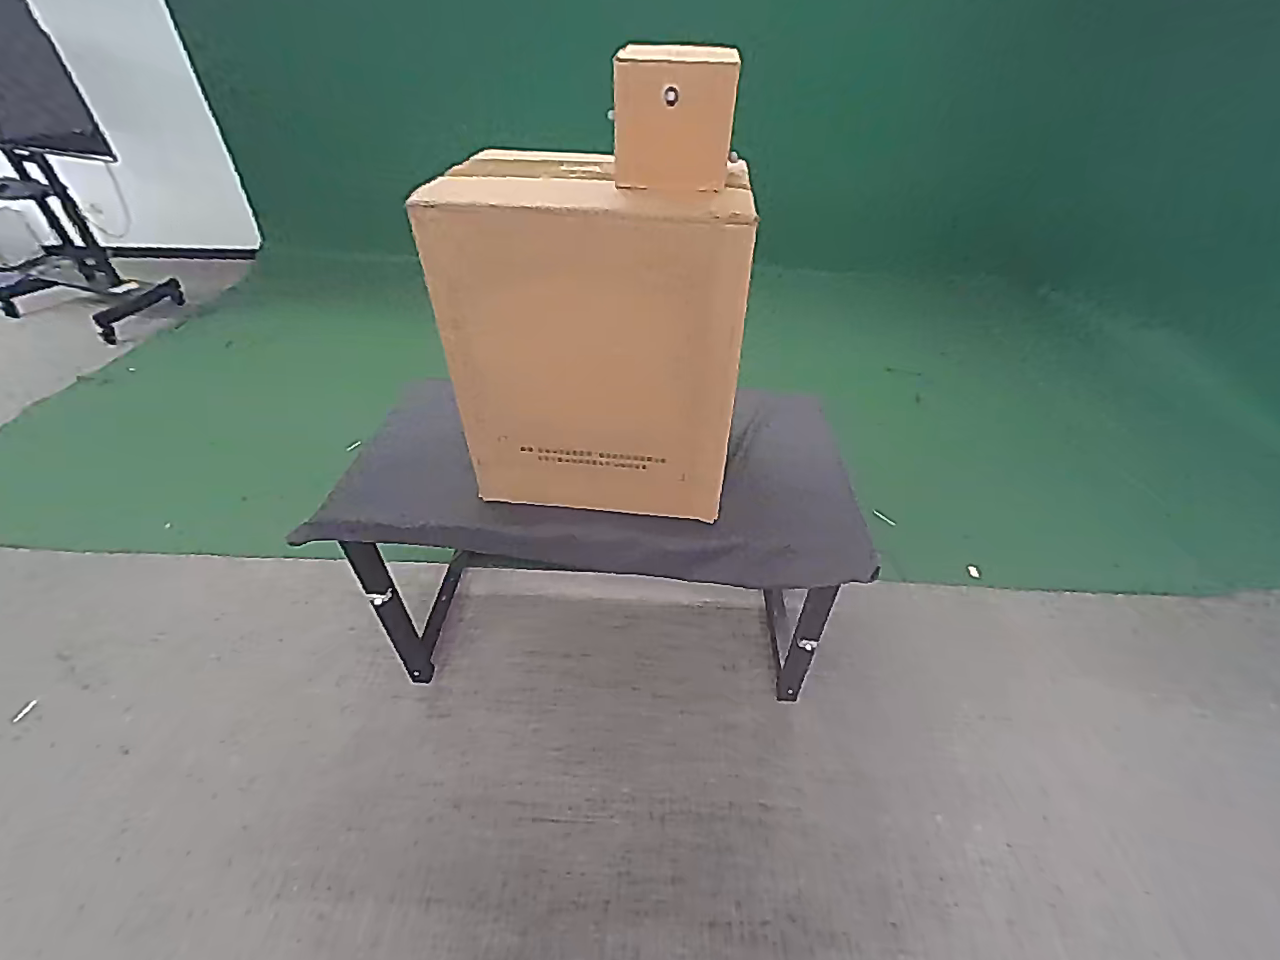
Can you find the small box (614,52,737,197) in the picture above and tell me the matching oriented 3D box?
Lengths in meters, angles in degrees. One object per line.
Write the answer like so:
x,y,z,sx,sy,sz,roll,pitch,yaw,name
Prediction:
0.055,-0.567,0.865,0.179,0.176,0.168,6,44,2,small box
